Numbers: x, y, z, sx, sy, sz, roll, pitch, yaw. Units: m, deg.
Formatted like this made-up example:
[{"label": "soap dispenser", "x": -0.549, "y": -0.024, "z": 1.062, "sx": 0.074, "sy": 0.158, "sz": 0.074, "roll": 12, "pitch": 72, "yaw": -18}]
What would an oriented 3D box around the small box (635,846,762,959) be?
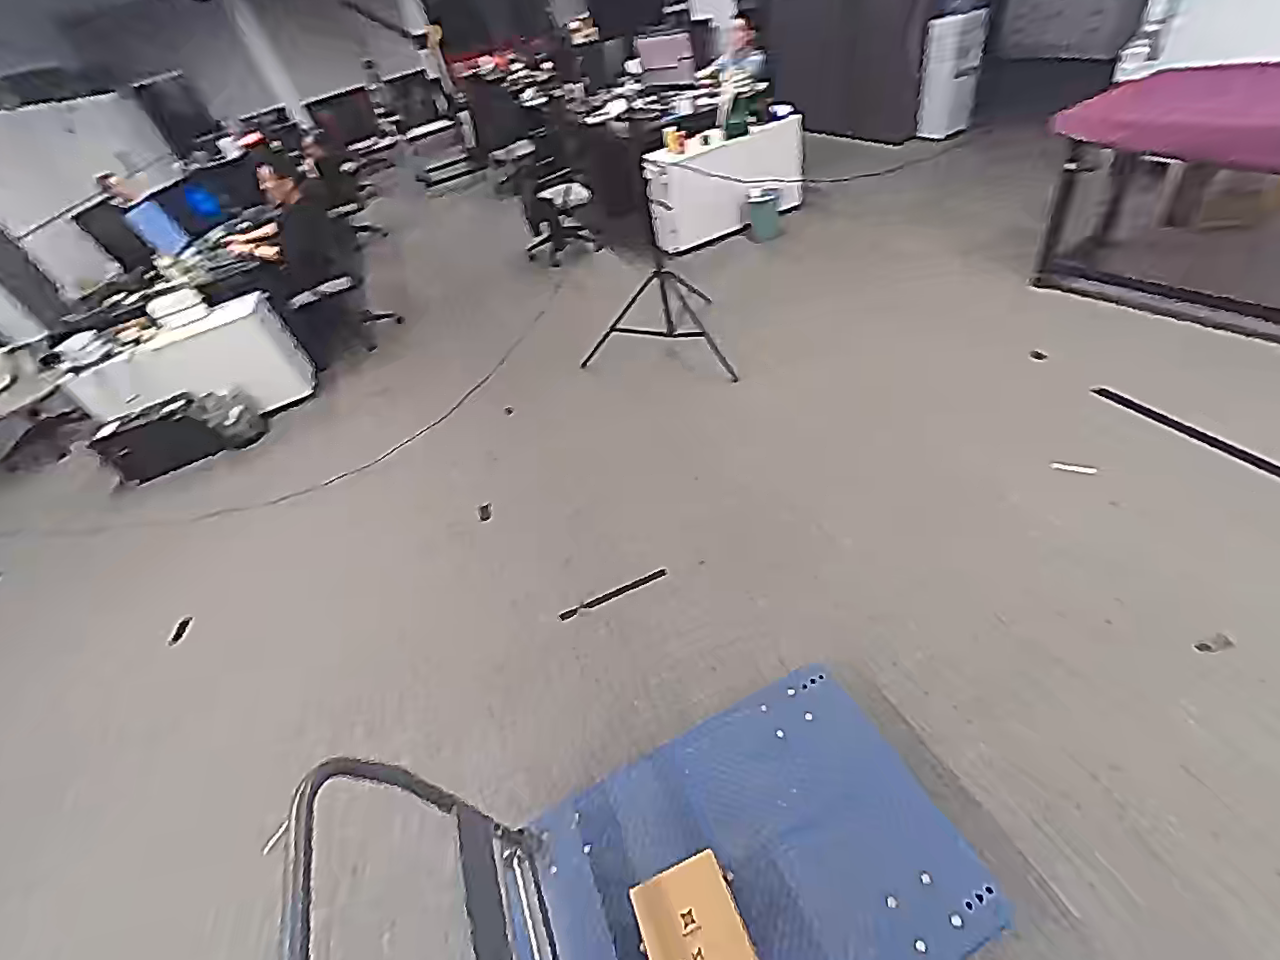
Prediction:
[{"label": "small box", "x": 0.107, "y": 0.807, "z": 0.970, "sx": 0.168, "sy": 0.176, "sz": 0.179, "roll": -24, "pitch": 43, "yaw": -7}]
